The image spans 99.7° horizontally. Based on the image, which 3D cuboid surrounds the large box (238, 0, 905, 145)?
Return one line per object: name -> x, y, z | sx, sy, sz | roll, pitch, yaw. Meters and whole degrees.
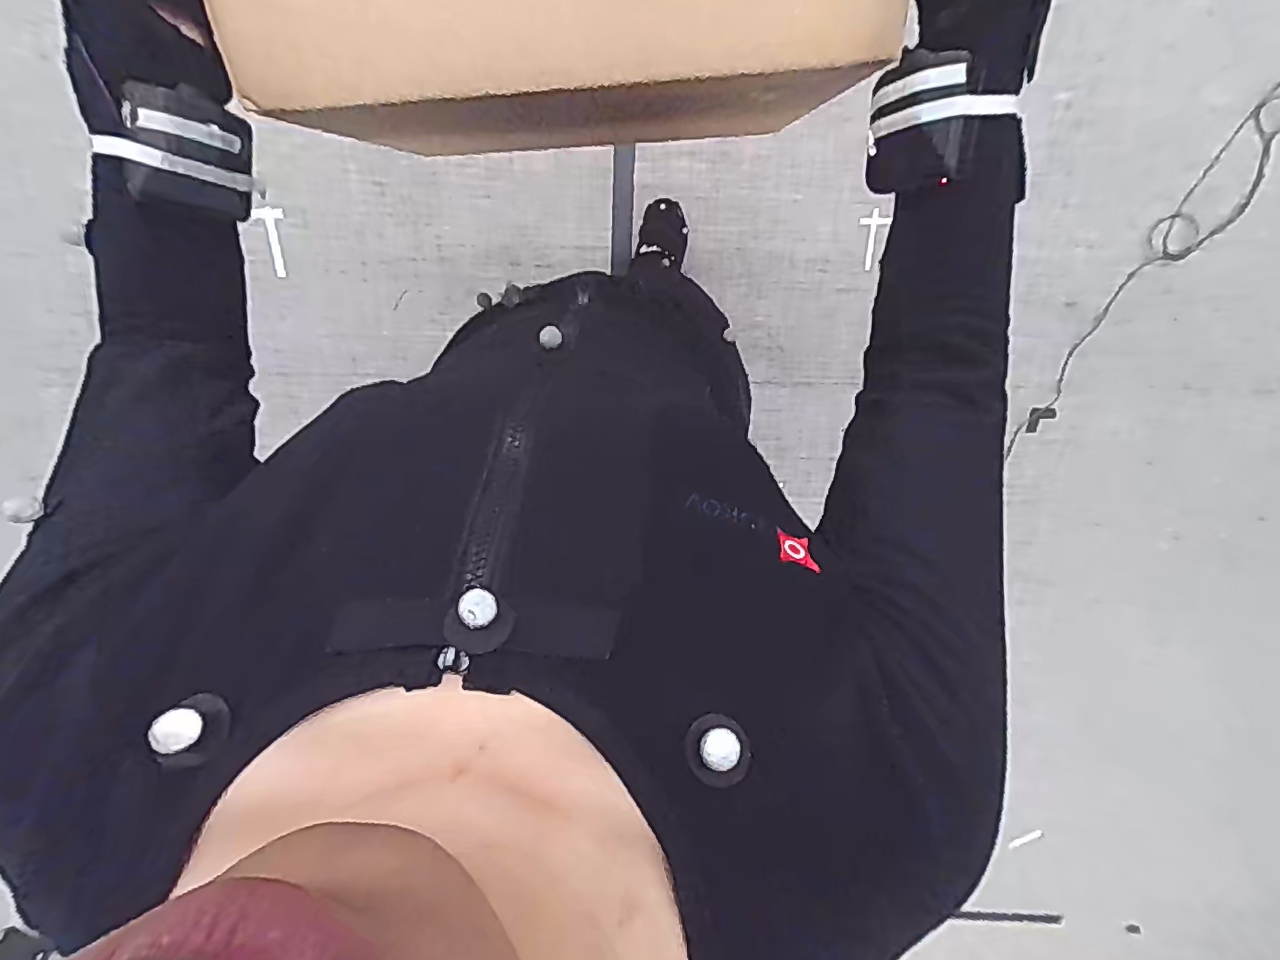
large box -> -0.053, -0.461, 0.401 | 0.408, 0.320, 0.320 | -4, 117, 1
